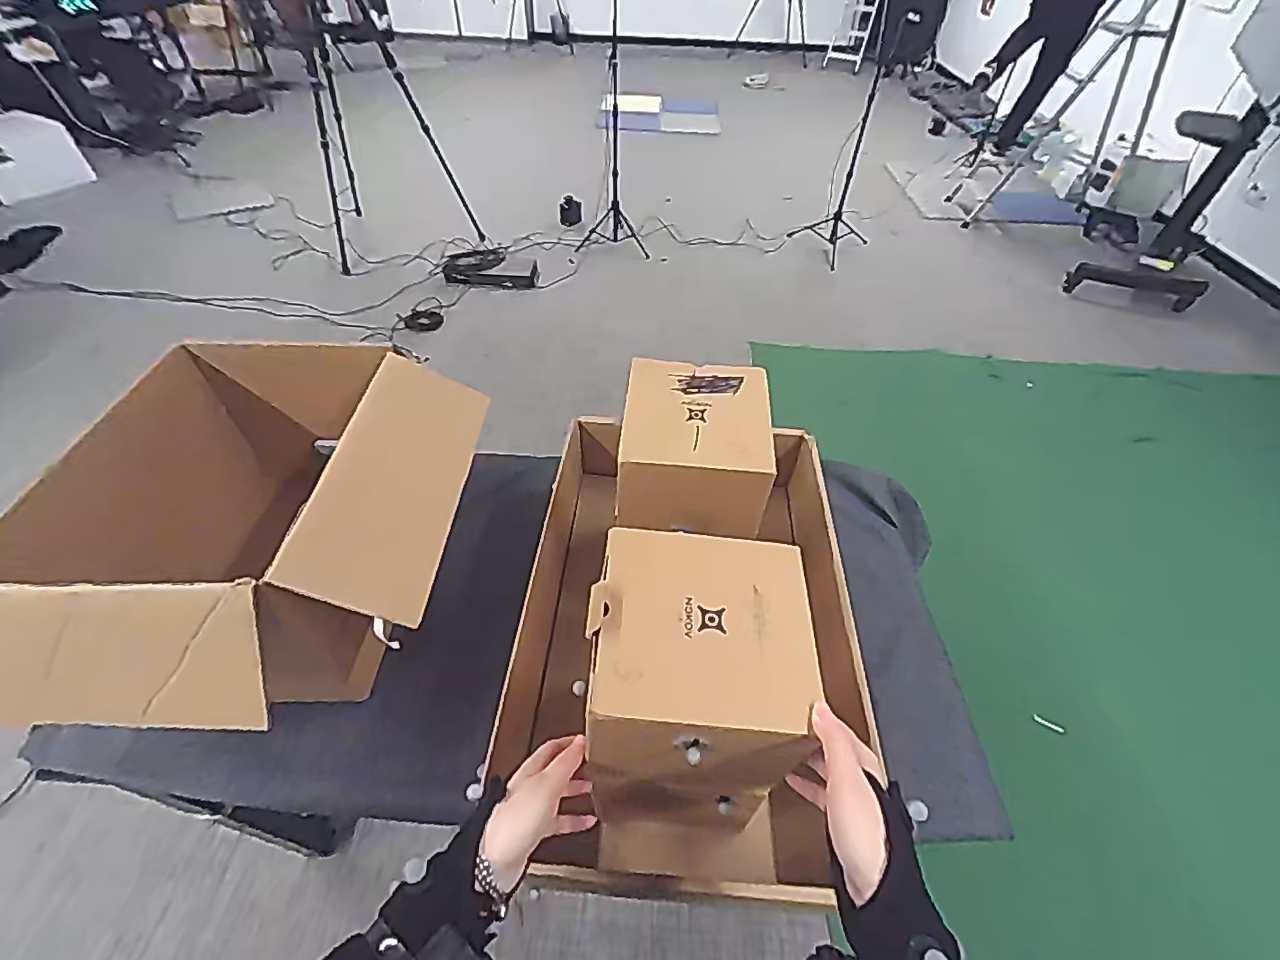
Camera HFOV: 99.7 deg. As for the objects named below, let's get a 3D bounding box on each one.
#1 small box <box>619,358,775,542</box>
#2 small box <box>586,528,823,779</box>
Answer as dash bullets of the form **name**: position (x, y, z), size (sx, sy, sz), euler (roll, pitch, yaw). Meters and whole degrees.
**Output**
- **small box**: position (0.064, -0.026, 0.675), size (0.168, 0.176, 0.179), euler (5, 51, 2)
- **small box**: position (0.046, 0.166, 0.503), size (0.179, 0.176, 0.168), euler (7, 50, -3)
